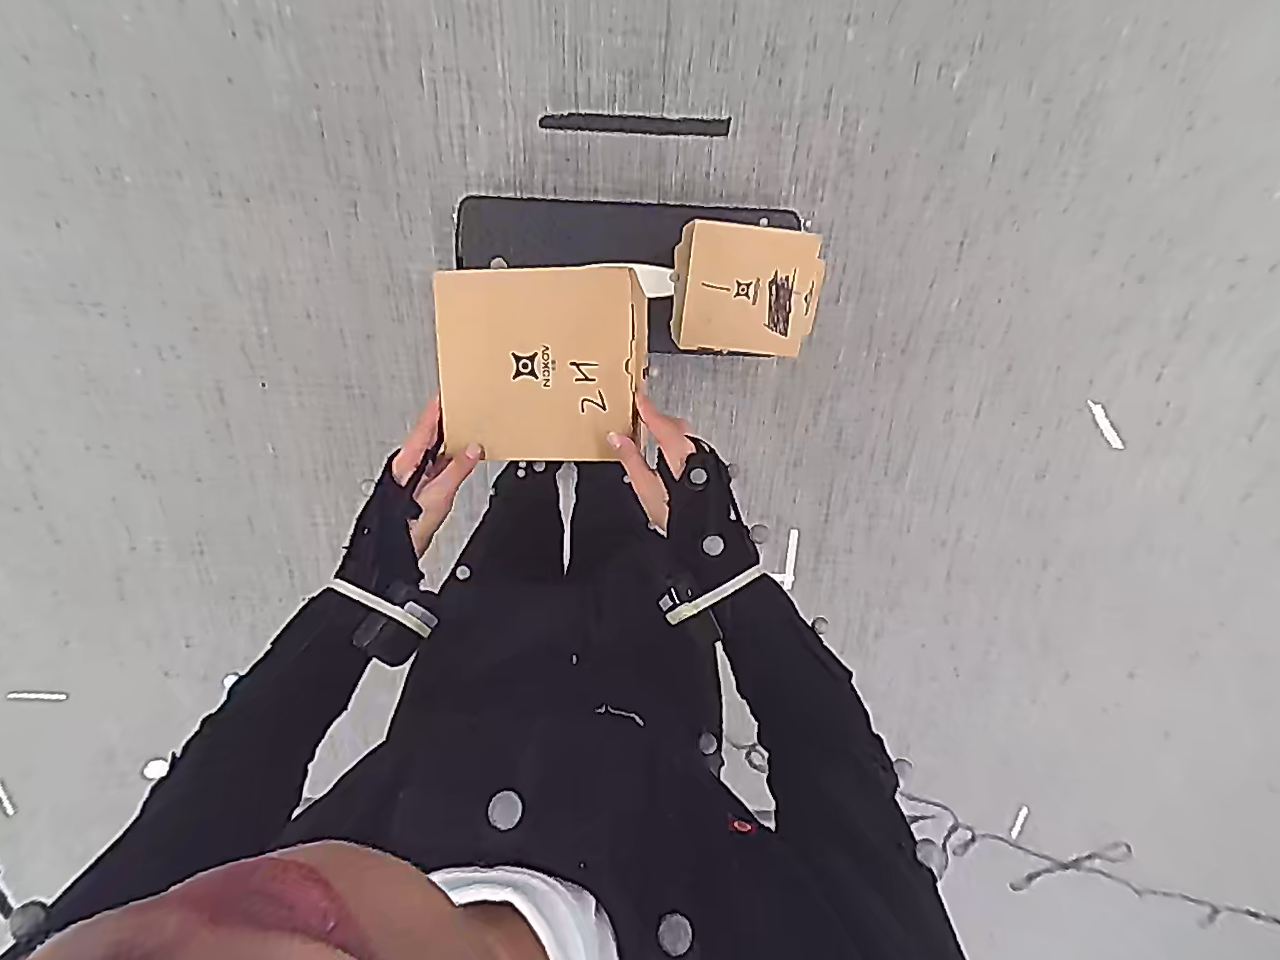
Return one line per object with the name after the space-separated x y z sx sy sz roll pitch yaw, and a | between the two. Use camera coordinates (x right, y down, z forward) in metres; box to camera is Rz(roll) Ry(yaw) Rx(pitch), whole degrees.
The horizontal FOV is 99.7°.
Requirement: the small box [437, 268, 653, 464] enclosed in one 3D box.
-0.080 -0.108 0.543 0.179 0.176 0.168 0 100 4 | small box

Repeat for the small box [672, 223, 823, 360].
0.150 -0.286 0.819 0.179 0.176 0.168 6 111 -3 | small box
